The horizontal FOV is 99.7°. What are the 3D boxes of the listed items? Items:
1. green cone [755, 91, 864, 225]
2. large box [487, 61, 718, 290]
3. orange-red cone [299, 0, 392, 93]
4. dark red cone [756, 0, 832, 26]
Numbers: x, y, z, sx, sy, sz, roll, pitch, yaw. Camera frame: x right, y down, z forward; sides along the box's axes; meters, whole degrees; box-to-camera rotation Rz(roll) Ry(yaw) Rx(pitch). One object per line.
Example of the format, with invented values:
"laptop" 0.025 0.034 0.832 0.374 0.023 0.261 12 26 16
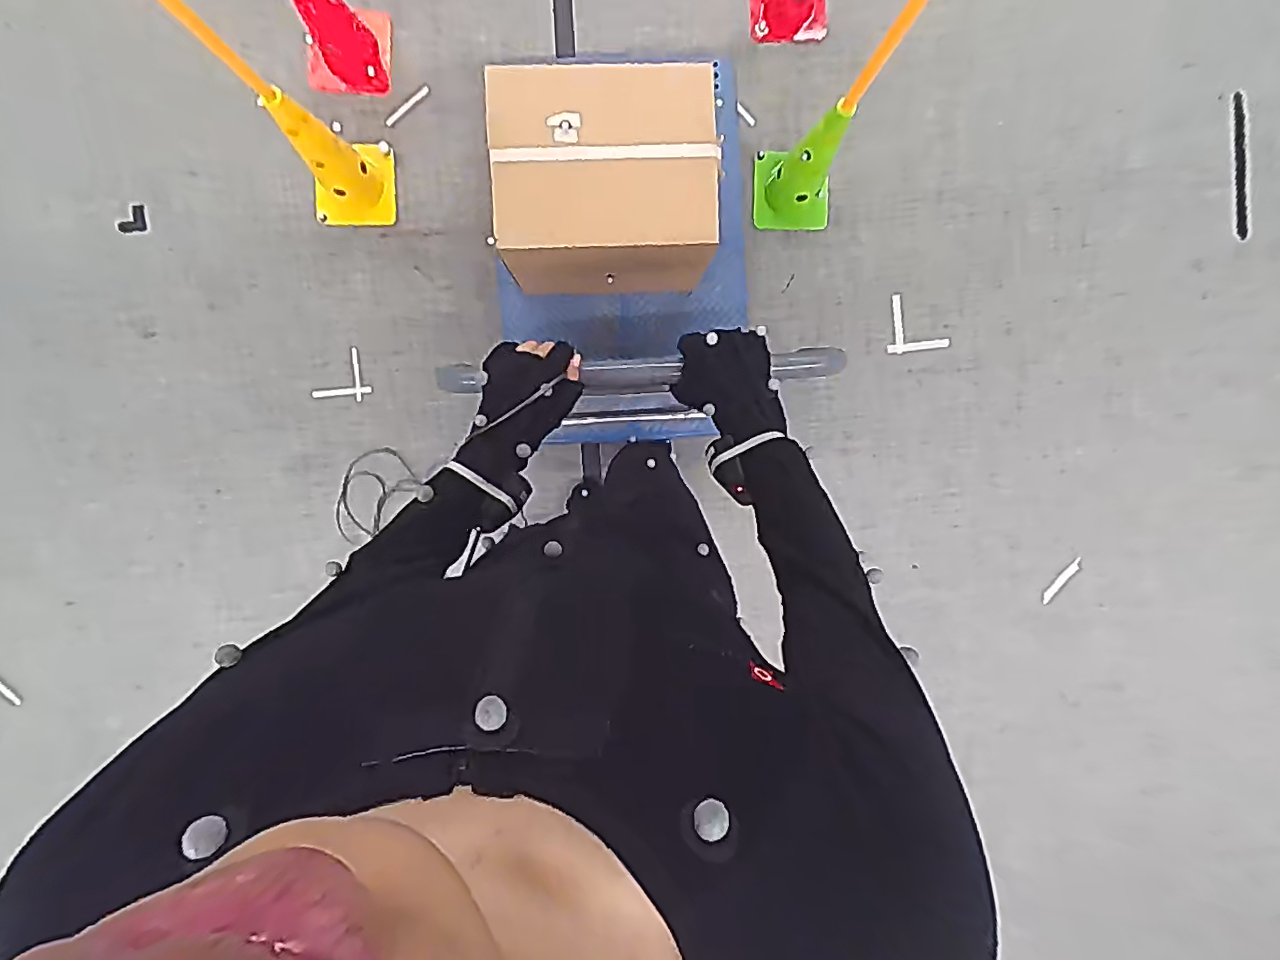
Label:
"green cone" 0.414 -0.769 1.263 0.202 0.368 0.200 0 93 -4
"large box" -0.066 -0.590 1.109 0.408 0.320 0.320 -2 94 -1
"orange-red cone" -0.720 -1.082 1.195 0.198 0.360 0.199 3 92 -4
"dark red cone" 0.401 -1.252 1.216 0.201 0.394 0.202 -4 94 -4
